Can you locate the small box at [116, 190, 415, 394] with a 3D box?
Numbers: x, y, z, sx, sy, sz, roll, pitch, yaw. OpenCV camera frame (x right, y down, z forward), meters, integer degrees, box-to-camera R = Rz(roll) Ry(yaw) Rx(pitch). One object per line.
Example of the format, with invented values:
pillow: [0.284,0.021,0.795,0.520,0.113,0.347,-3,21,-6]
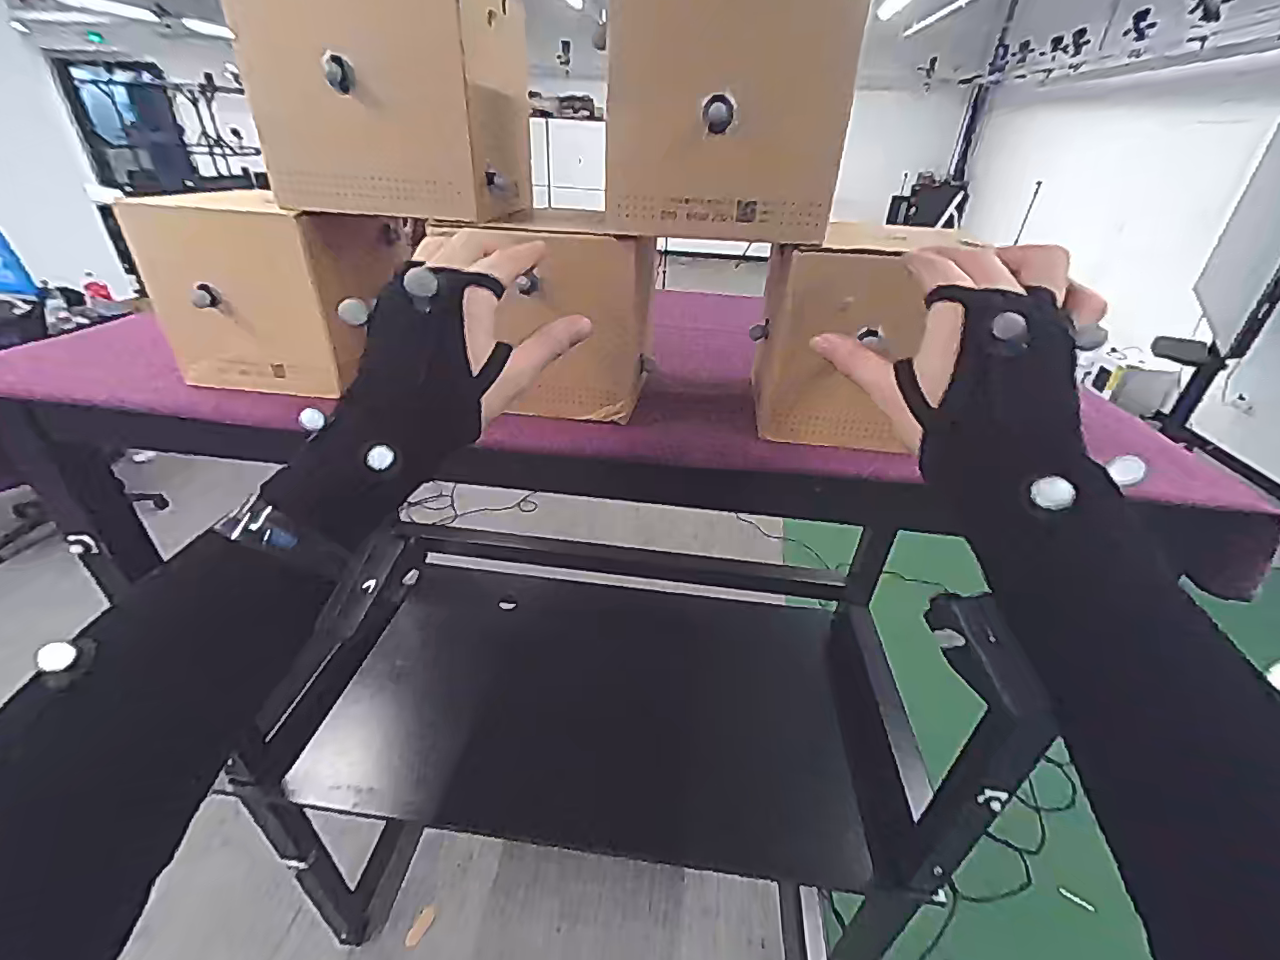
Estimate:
small box: [-0.354,-0.197,0.559,0.168,0.176,0.179,5,31,4]

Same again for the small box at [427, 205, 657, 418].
small box: [-0.081,-0.172,0.539,0.179,0.176,0.168,6,32,5]

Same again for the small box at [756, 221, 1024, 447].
small box: [0.207,-0.142,0.513,0.179,0.176,0.168,4,33,5]

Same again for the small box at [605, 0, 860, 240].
small box: [0.067,-0.297,0.439,0.168,0.176,0.179,5,32,4]

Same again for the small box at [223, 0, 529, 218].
small box: [-0.203,-0.329,0.470,0.179,0.176,0.168,4,31,3]
